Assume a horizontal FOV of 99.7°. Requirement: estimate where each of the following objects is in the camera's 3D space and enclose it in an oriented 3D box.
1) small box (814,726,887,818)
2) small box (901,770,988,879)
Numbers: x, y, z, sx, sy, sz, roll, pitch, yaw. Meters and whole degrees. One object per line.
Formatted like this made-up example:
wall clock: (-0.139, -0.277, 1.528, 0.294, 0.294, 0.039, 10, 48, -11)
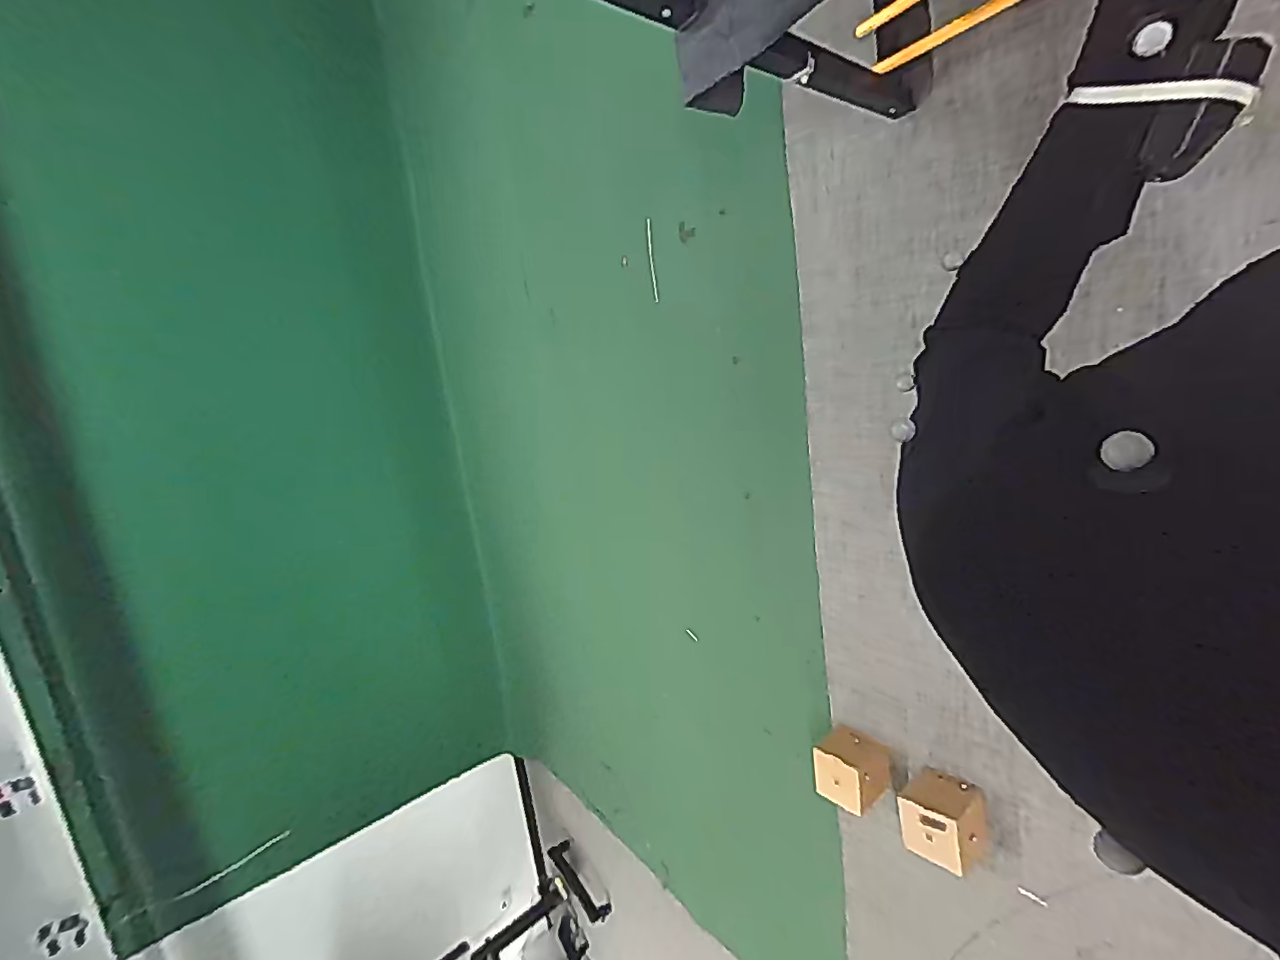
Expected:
small box: (0.704, 0.962, 1.799, 0.168, 0.176, 0.179, 5, 105, 51)
small box: (0.885, 0.986, 1.570, 0.168, 0.176, 0.179, -1, 102, 53)
